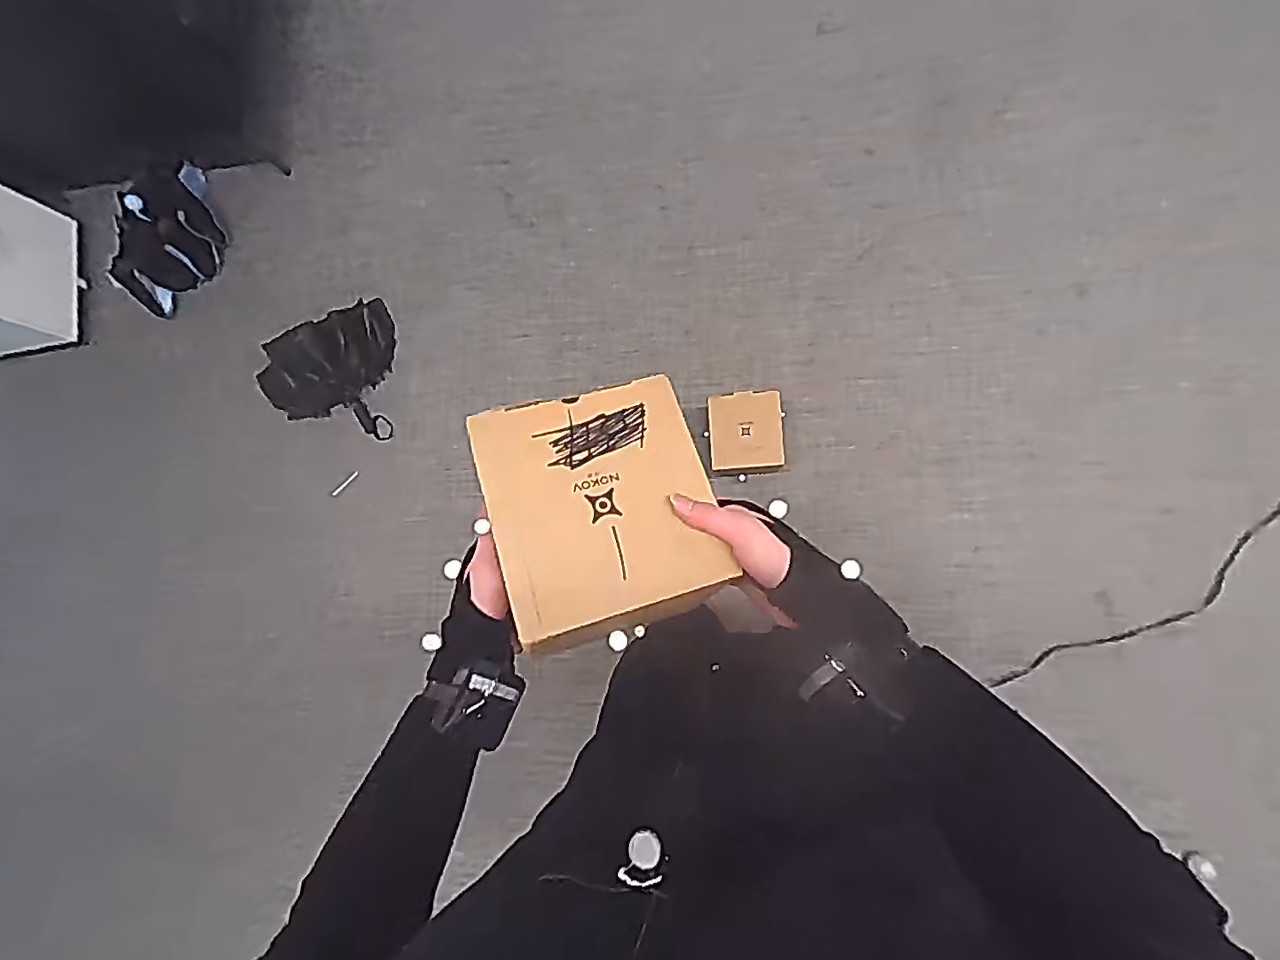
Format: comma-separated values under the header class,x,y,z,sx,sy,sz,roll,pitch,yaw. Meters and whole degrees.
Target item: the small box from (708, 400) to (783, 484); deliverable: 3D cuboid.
class,x,y,z,sx,sy,sz,roll,pitch,yaw
small box,0.253,-0.086,1.319,0.168,0.176,0.179,-4,85,9
